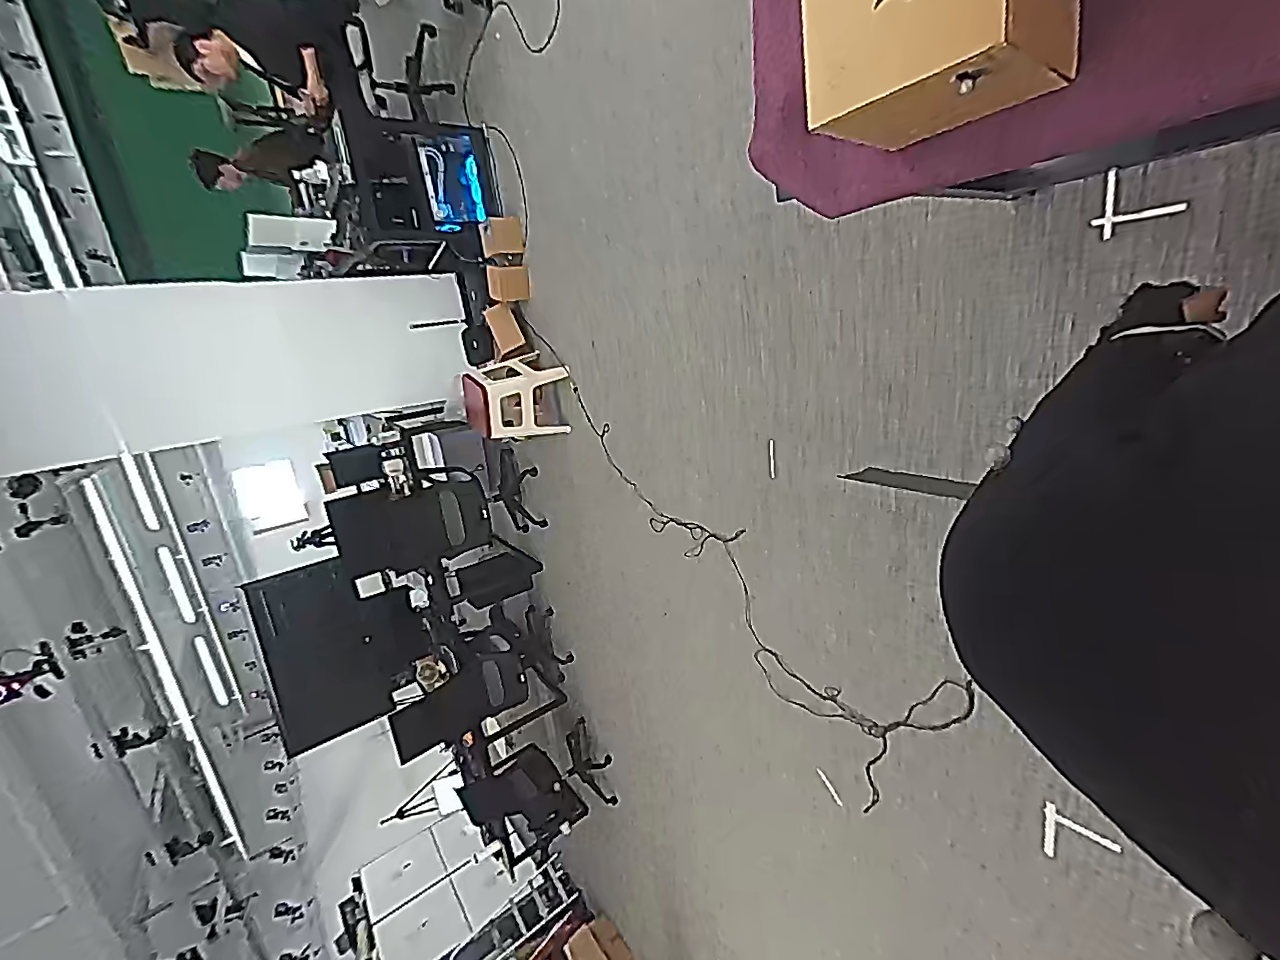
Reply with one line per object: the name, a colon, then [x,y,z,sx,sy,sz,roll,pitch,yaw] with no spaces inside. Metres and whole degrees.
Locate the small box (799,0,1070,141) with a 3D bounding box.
small box: [0.274,-0.445,0.509,0.179,0.176,0.168,8,111,51]
